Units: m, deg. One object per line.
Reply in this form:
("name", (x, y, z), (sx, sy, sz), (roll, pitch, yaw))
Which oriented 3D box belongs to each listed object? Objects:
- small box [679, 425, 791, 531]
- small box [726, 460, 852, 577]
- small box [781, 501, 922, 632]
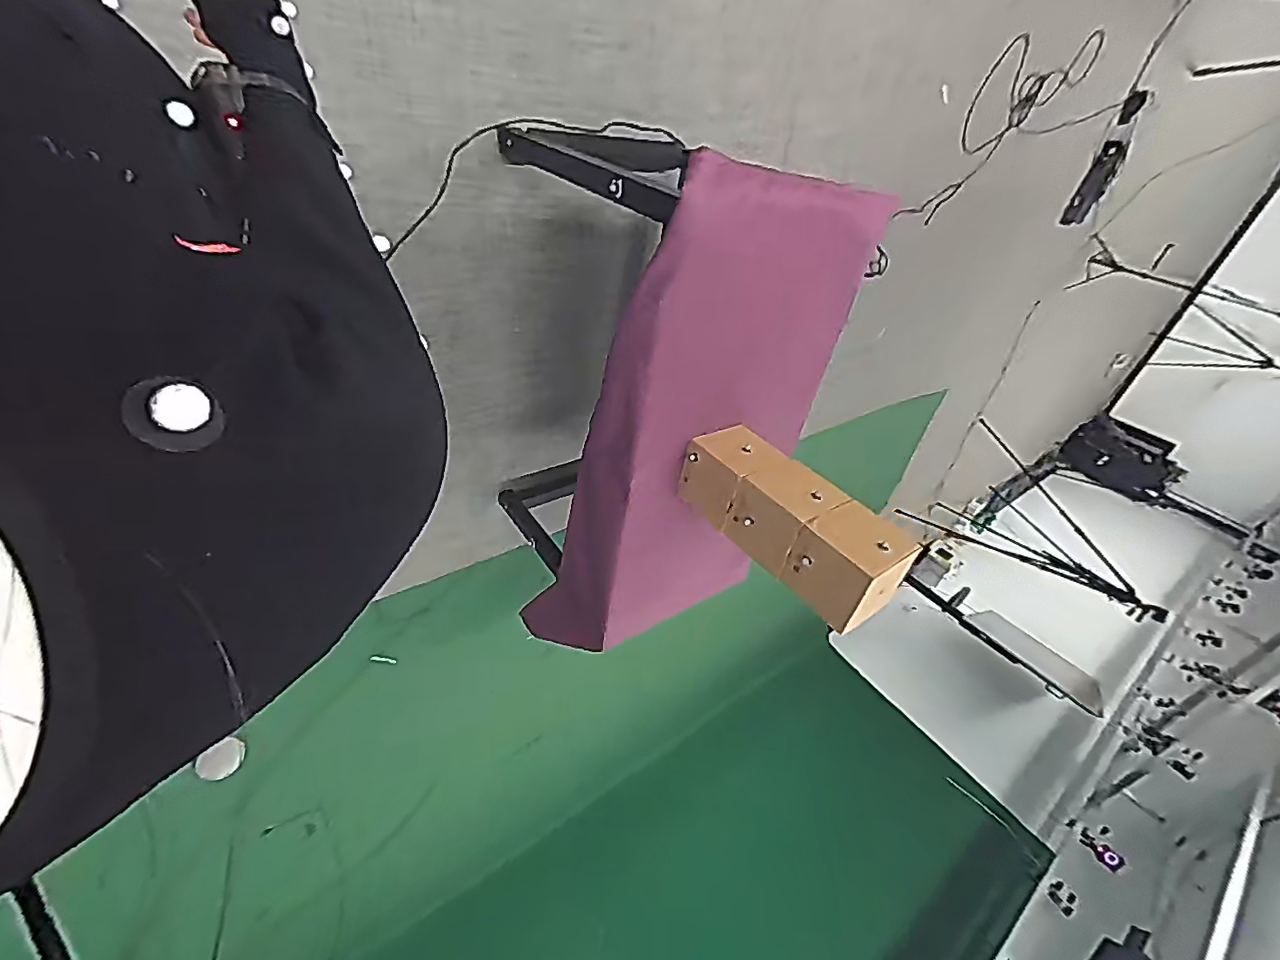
("small box", (0.217, -0.011, 1.282), (0.179, 0.176, 0.168), (-18, 135, -34))
("small box", (0.321, 0.076, 1.187), (0.179, 0.176, 0.168), (-17, 134, -34))
("small box", (0.420, 0.165, 1.093), (0.179, 0.176, 0.168), (-18, 134, -34))
